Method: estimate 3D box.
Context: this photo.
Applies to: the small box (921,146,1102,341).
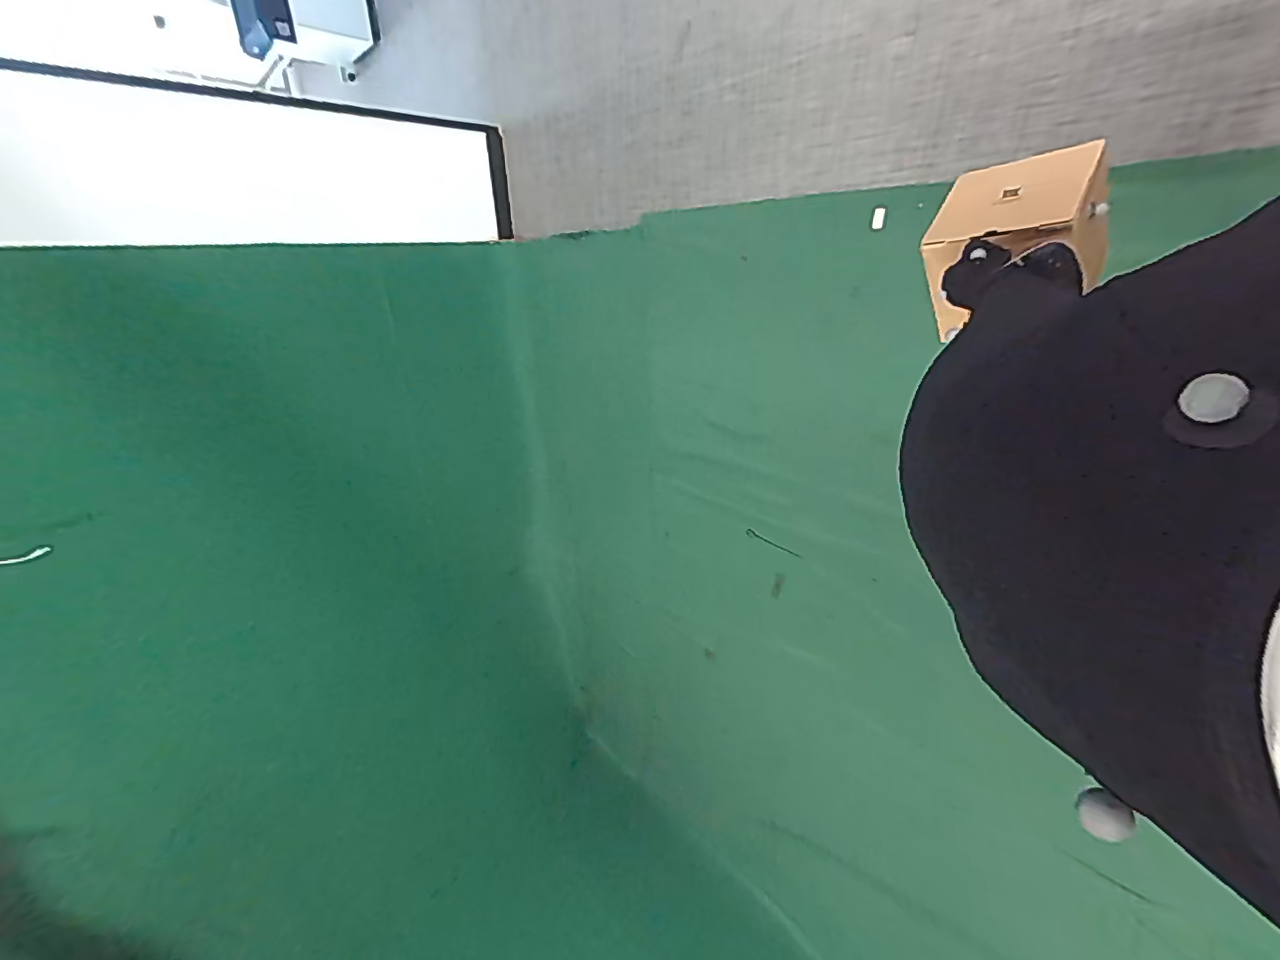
[{"bbox_3d":[0.520,-0.318,0.756,0.168,0.179,0.176,10,149,46],"label":"small box"}]
